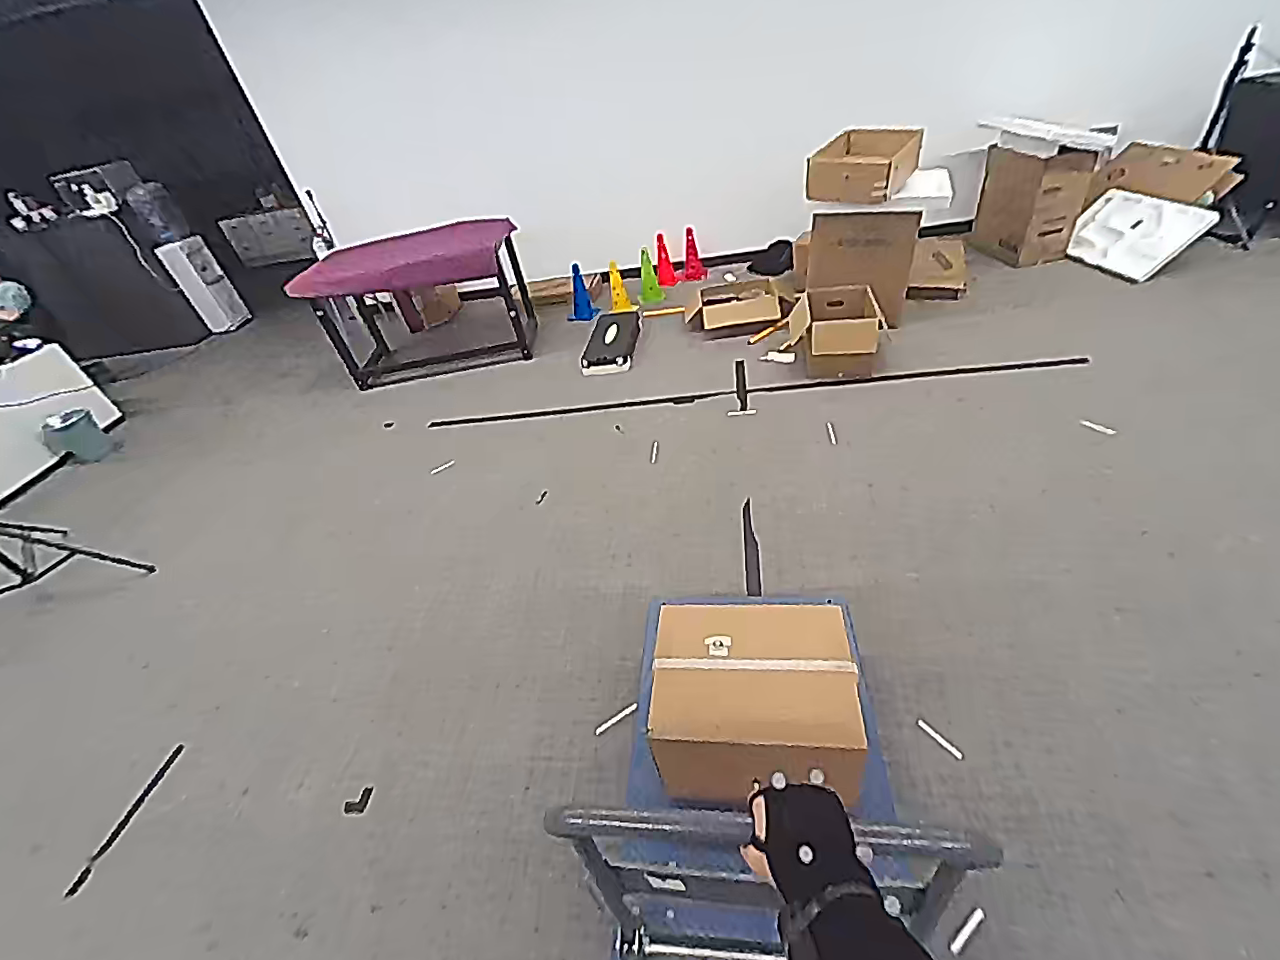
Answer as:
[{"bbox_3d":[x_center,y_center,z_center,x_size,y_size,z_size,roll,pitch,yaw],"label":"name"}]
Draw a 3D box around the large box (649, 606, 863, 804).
[{"bbox_3d":[0.255,0.509,1.223,0.408,0.320,0.320,-4,39,12],"label":"large box"}]
